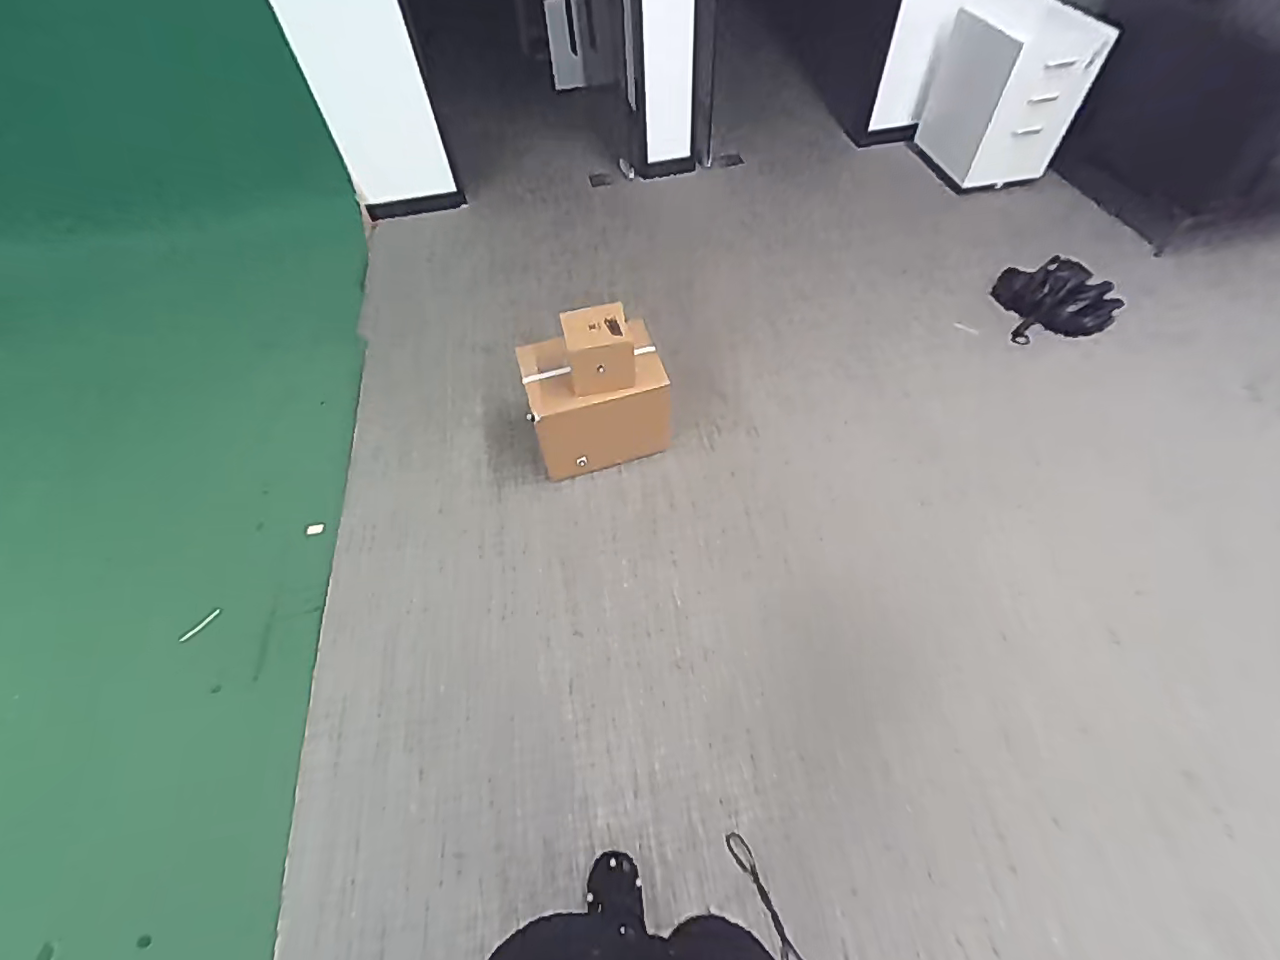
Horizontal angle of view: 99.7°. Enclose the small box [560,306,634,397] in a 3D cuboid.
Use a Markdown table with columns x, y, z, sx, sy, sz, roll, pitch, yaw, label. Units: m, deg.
| x | y | z | sx | sy | sz | roll | pitch | yaw | label |
| --- | --- | --- | --- | --- | --- | --- | --- | --- | --- |
| -0.115 | -0.355 | 1.507 | 0.179 | 0.176 | 0.168 | -12 | 55 | -4 | small box |
